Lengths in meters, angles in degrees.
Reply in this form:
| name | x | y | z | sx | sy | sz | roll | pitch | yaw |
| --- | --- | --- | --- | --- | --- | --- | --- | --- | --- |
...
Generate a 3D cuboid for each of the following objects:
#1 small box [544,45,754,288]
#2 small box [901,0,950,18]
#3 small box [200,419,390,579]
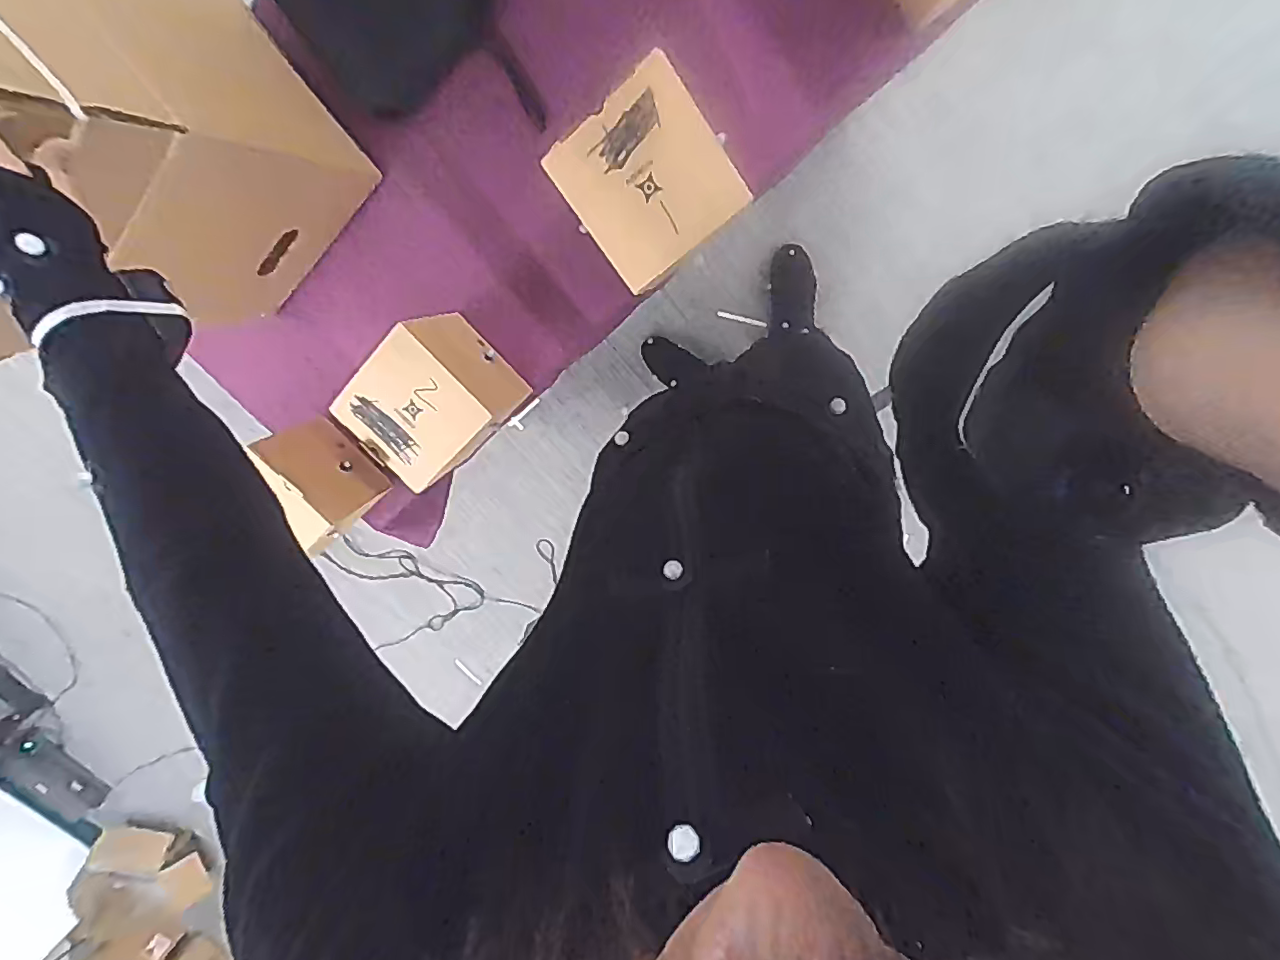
| name | x | y | z | sx | sy | sz | roll | pitch | yaw |
| --- | --- | --- | --- | --- | --- | --- | --- | --- | --- |
| small box | 0.019 | -0.357 | 0.655 | 0.168 | 0.176 | 0.179 | -33 | 104 | 20 |
| small box | 0.320 | -0.600 | 0.505 | 0.168 | 0.176 | 0.179 | -30 | 104 | 20 |
| small box | -0.561 | 0.025 | 0.902 | 0.179 | 0.176 | 0.168 | -38 | 102 | 19 |
